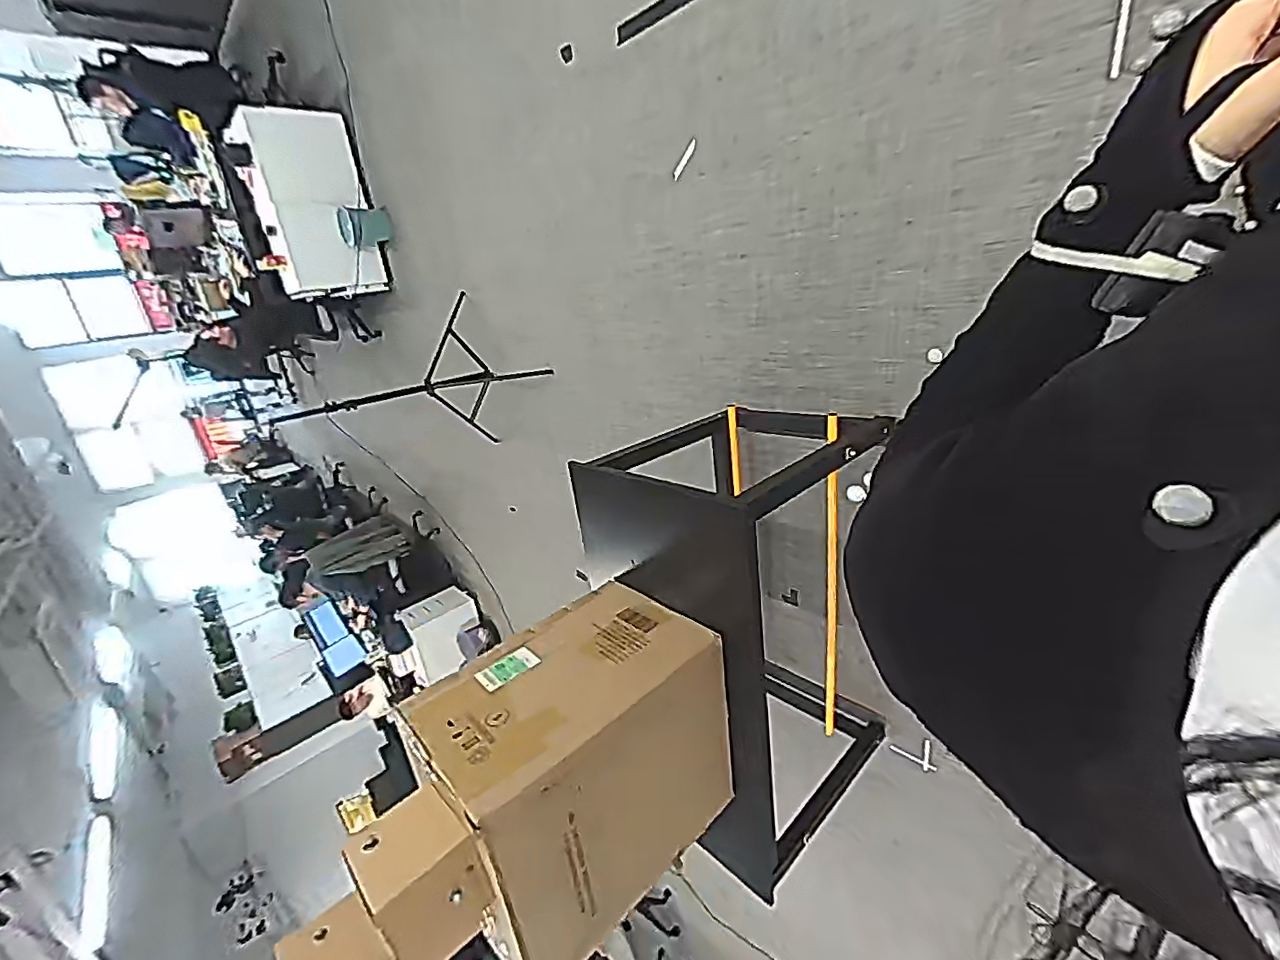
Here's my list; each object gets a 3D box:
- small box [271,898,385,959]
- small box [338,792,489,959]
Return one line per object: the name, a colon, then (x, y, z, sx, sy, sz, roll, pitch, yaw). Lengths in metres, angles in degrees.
small box: (-0.580, 0.965, 1.049, 0.179, 0.176, 0.168, 17, 122, 45)
small box: (-0.390, 0.689, 0.941, 0.179, 0.176, 0.168, 10, 119, 46)
